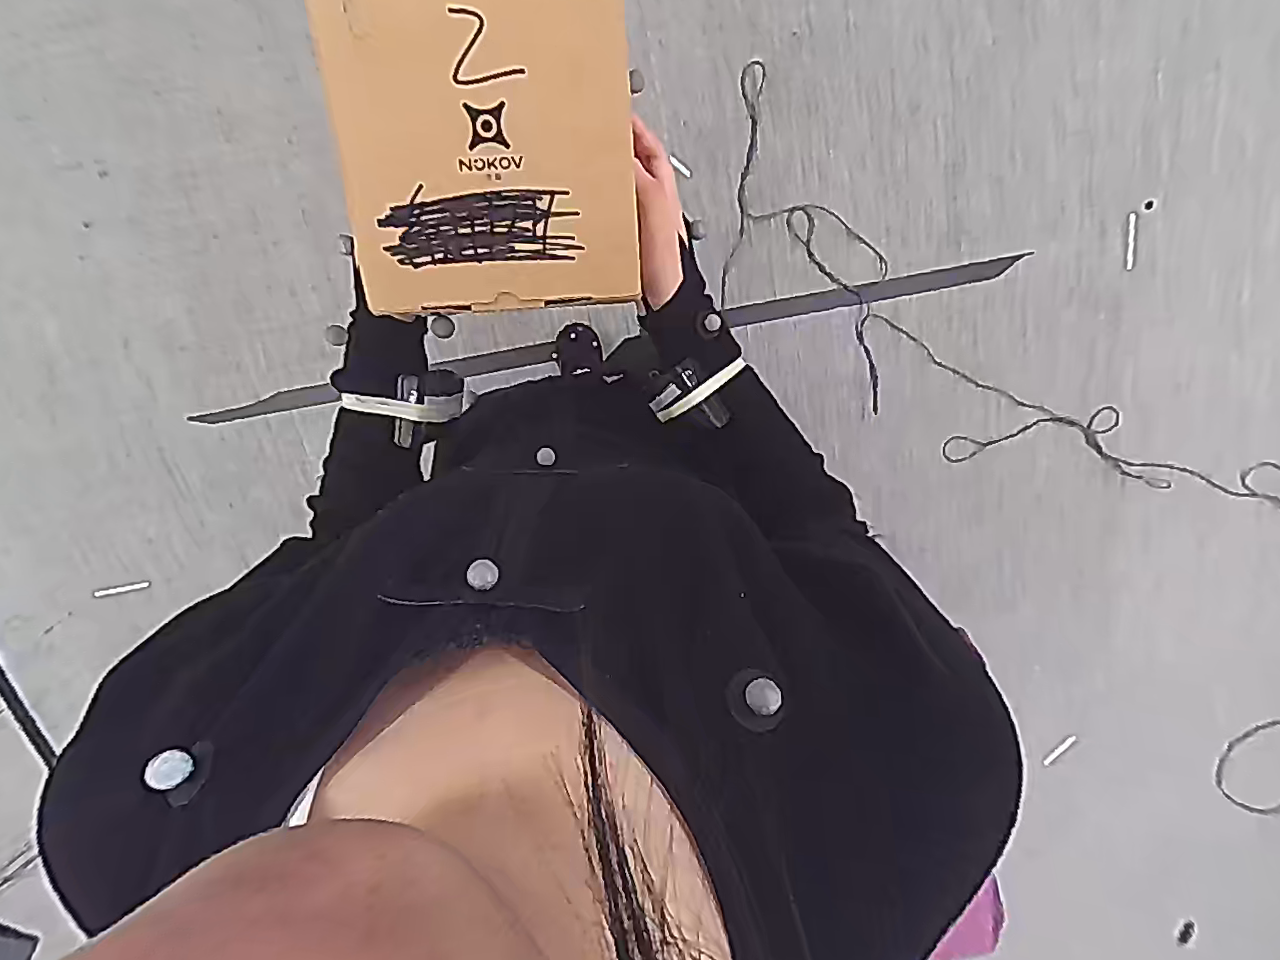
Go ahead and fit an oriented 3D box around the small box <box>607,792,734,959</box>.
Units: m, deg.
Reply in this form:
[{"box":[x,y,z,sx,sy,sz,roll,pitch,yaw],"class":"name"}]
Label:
[{"box":[0.043,0.630,0.840,0.168,0.176,0.179,-10,106,-3],"class":"small box"}]
